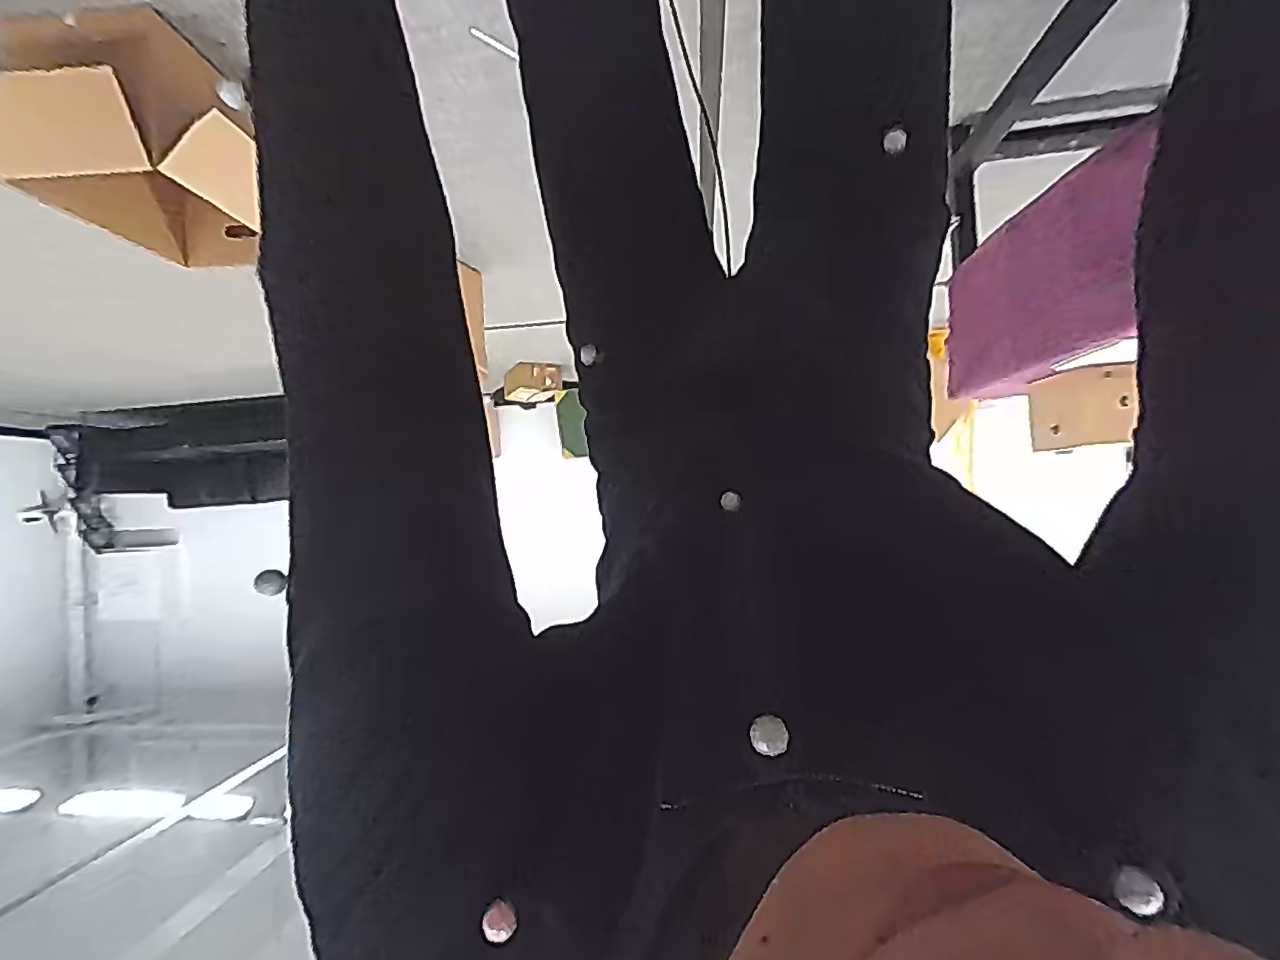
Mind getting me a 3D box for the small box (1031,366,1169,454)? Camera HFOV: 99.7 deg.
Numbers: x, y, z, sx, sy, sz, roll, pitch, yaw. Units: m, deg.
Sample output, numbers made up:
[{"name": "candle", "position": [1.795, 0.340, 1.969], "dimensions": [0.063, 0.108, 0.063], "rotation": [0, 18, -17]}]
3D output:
[{"name": "small box", "position": [1.001, -0.153, 1.196], "dimensions": [0.168, 0.176, 0.179], "rotation": [-3, 179, 5]}]
